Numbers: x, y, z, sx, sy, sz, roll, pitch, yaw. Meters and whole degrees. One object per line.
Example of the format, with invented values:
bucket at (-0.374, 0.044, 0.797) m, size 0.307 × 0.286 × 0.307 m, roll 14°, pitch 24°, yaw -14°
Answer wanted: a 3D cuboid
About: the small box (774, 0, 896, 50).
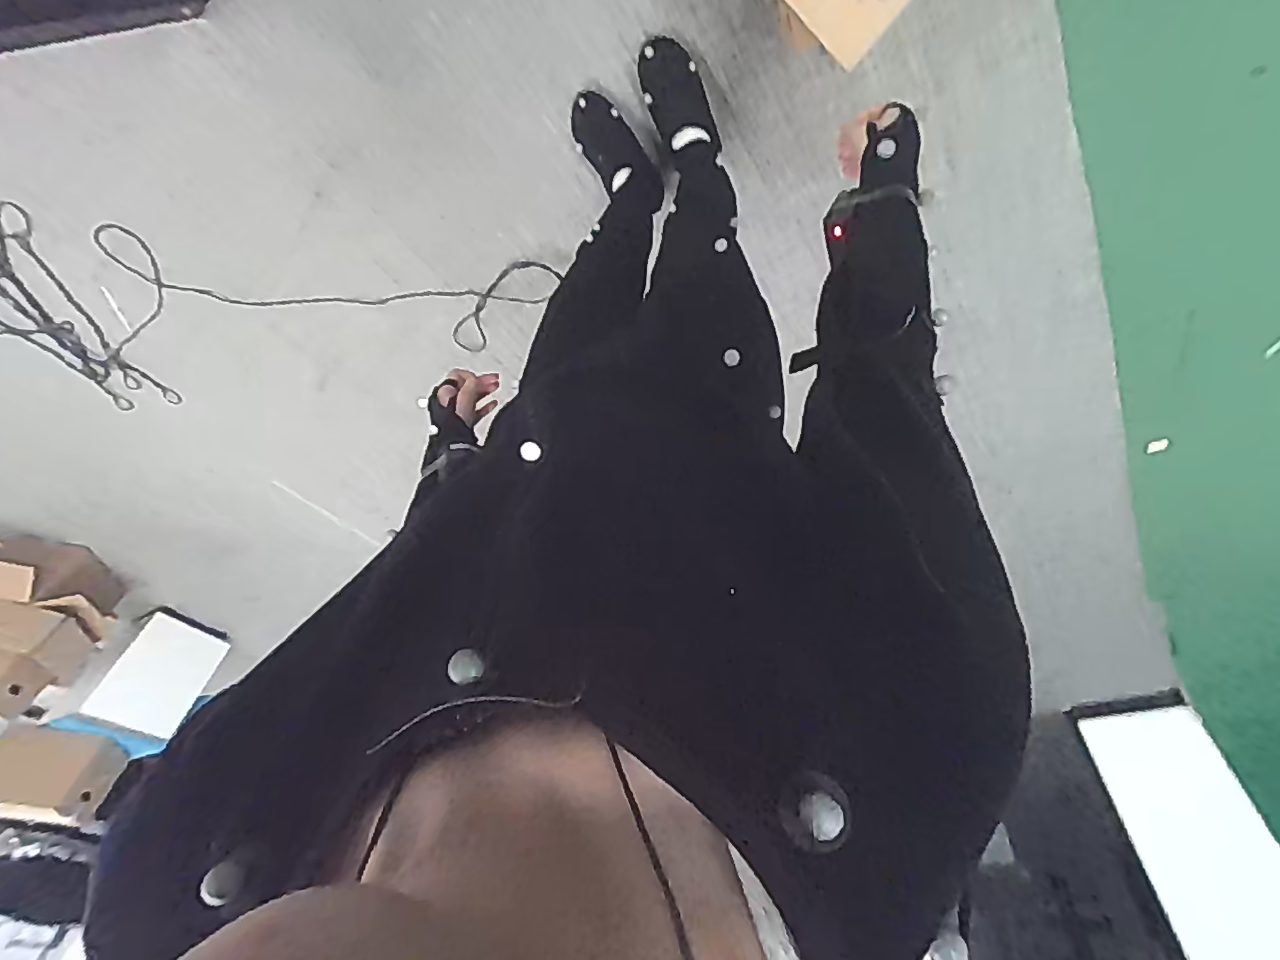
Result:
small box at (0.301, -0.836, 0.867) m, size 0.179 × 0.176 × 0.168 m, roll -15°, pitch 133°, yaw 21°
